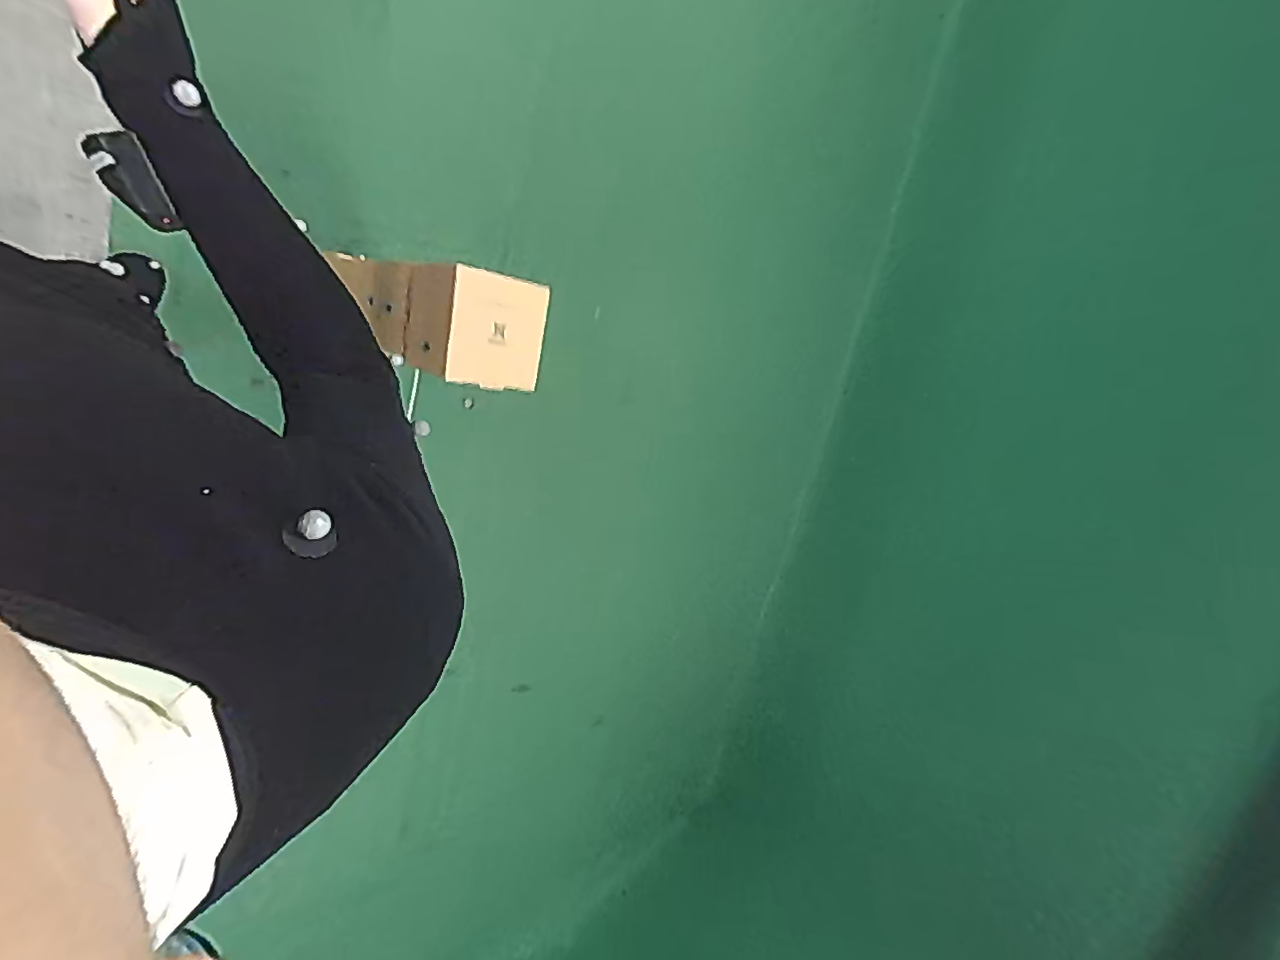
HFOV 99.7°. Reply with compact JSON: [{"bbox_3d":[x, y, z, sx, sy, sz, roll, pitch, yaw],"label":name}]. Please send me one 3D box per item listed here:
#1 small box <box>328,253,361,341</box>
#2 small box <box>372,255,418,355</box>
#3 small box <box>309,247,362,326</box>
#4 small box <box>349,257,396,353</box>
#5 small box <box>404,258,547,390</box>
[{"bbox_3d":[-0.610,-0.413,1.254,0.168,0.176,0.179,-1,109,-43],"label":"small box"},{"bbox_3d":[-0.393,-0.319,1.028,0.179,0.176,0.168,0,108,-43],"label":"small box"},{"bbox_3d":[-0.717,-0.471,1.361,0.168,0.176,0.179,3,107,-44],"label":"small box"},{"bbox_3d":[-0.502,-0.363,1.141,0.168,0.176,0.179,-3,111,-42],"label":"small box"},{"bbox_3d":[-0.285,-0.263,0.918,0.168,0.176,0.179,0,108,-45],"label":"small box"}]
